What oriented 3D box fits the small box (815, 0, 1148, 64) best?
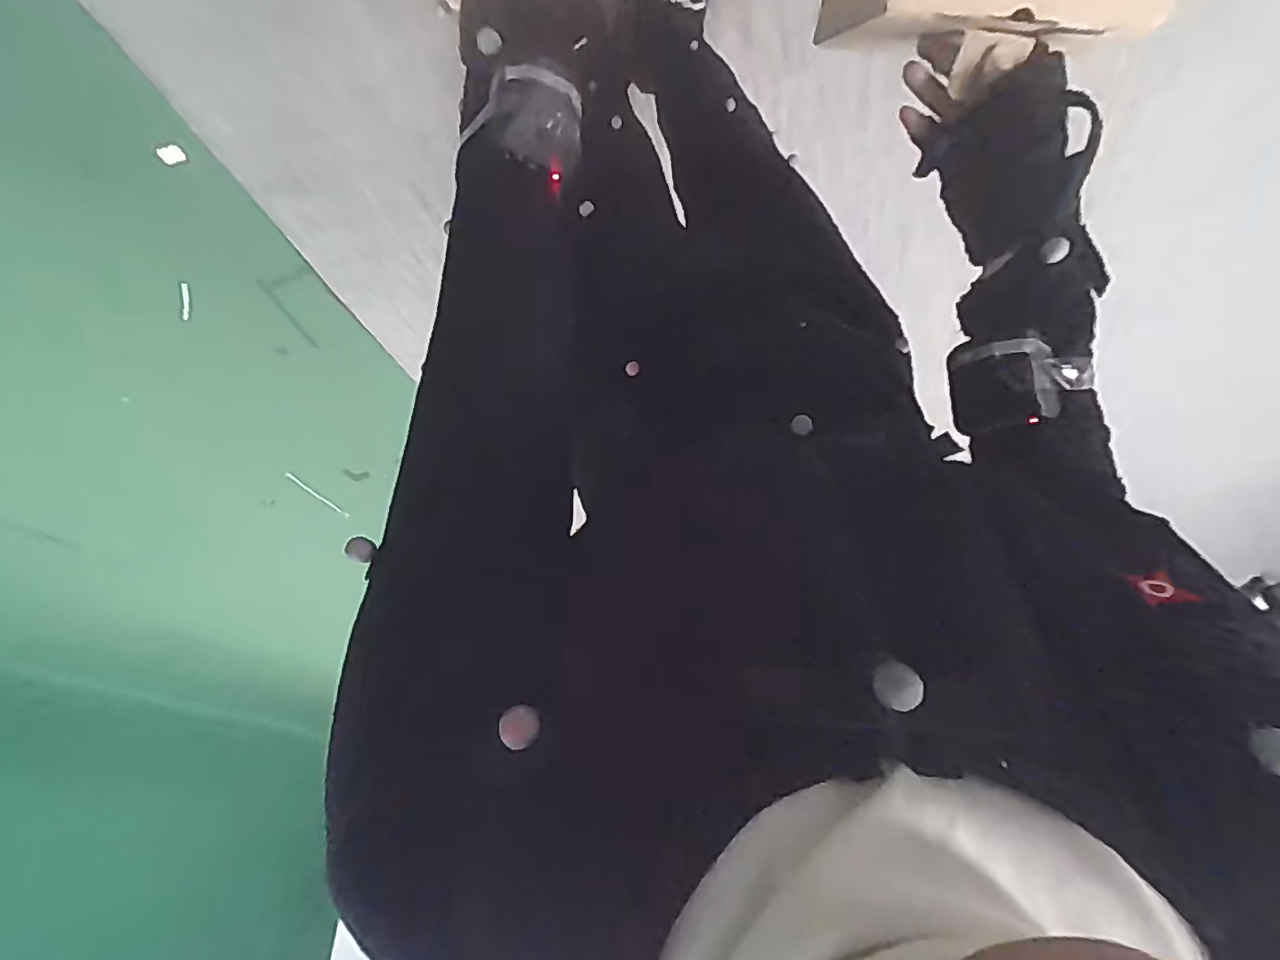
[{"bbox_3d":[0.226,-0.385,0.347,0.168,0.176,0.179,4,124,-2],"label":"small box"}]
